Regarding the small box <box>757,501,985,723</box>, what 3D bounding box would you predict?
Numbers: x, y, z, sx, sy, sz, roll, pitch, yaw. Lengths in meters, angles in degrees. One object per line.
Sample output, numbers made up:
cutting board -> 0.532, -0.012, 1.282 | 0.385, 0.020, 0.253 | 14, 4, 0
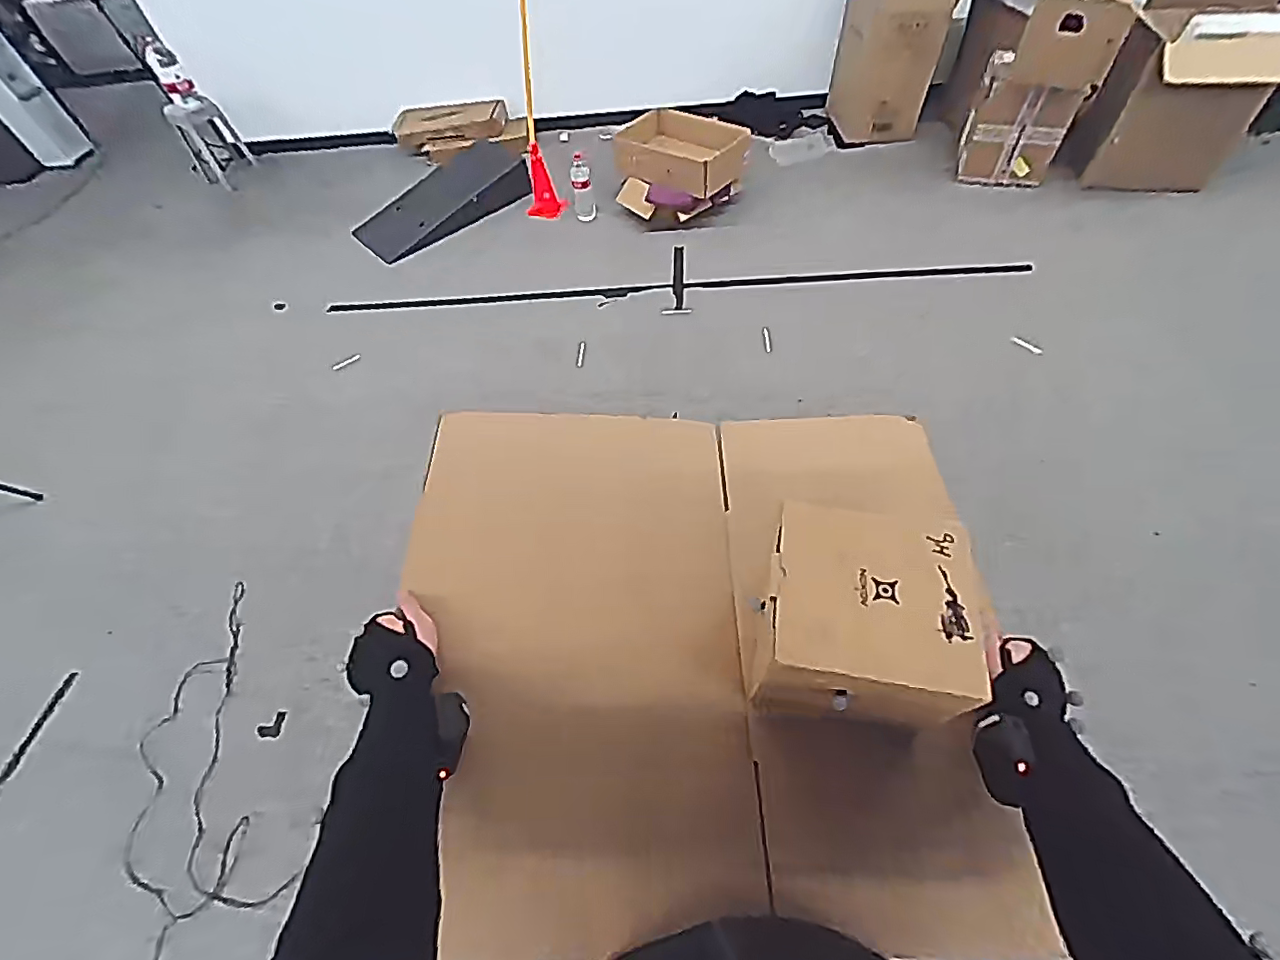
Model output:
small box -> 0.220, 0.141, 0.563 | 0.179, 0.176, 0.168 | 7, 58, 10
